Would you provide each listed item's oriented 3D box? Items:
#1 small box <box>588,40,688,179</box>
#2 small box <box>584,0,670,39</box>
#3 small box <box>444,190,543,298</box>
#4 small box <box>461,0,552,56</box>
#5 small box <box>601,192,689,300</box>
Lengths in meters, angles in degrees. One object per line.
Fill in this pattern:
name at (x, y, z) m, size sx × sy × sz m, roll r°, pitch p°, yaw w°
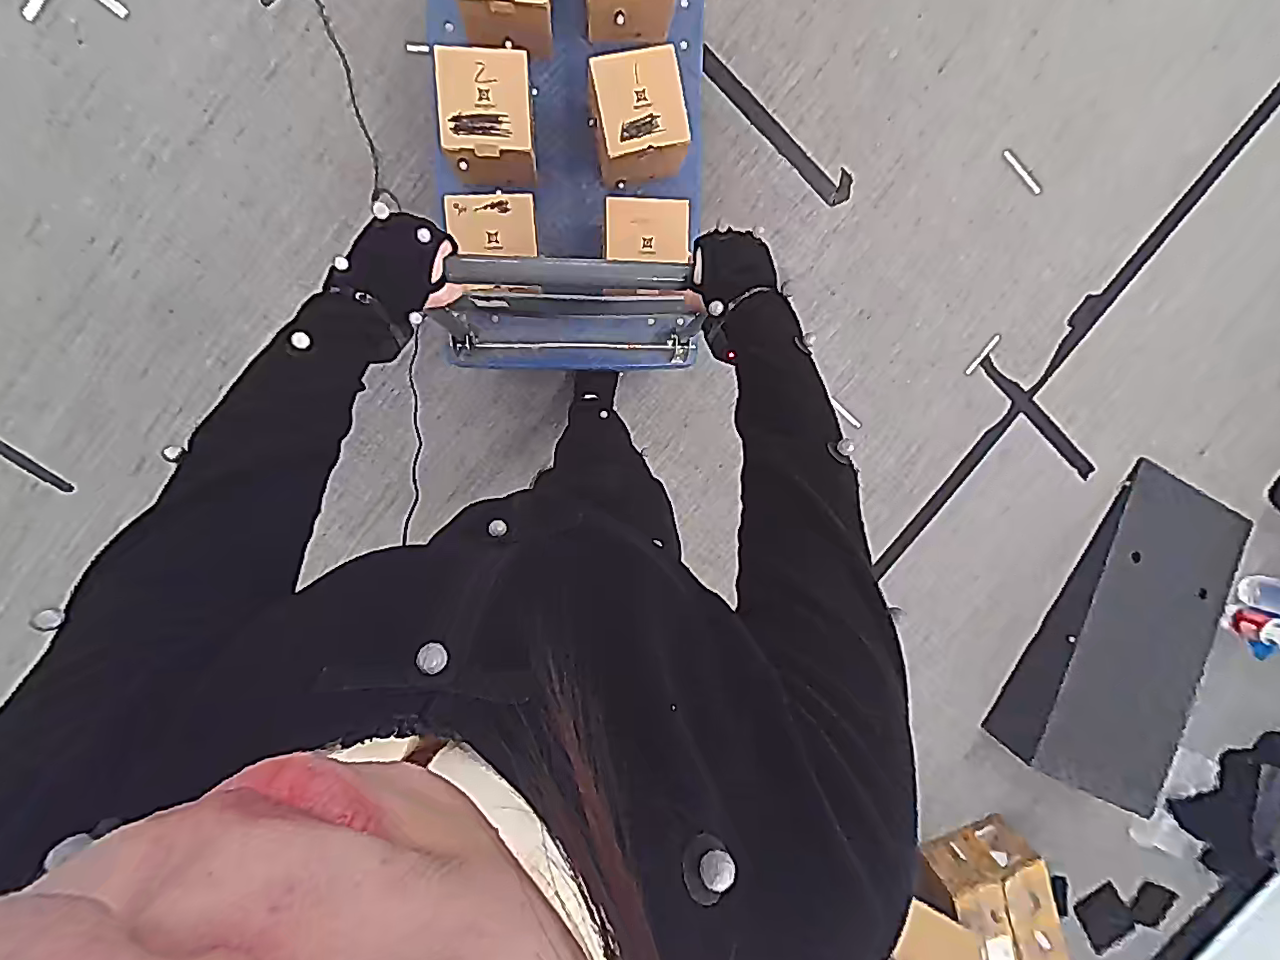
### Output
small box at (-0.009, -0.739, 1.102) m, size 0.168 × 0.176 × 0.179 m, roll -13°, pitch 100°, yaw -5°
small box at (-0.026, -1.008, 1.057) m, size 0.168 × 0.176 × 0.179 m, roll -4°, pitch 100°, yaw -6°
small box at (-0.292, -0.474, 1.110) m, size 0.168 × 0.176 × 0.179 m, roll -5°, pitch 100°, yaw -7°
small box at (-0.256, -0.966, 1.034) m, size 0.168 × 0.176 × 0.179 m, roll 1°, pitch 100°, yaw -7°
small box at (0.004, -0.485, 1.146) m, size 0.168 × 0.176 × 0.179 m, roll -1°, pitch 99°, yaw -8°
